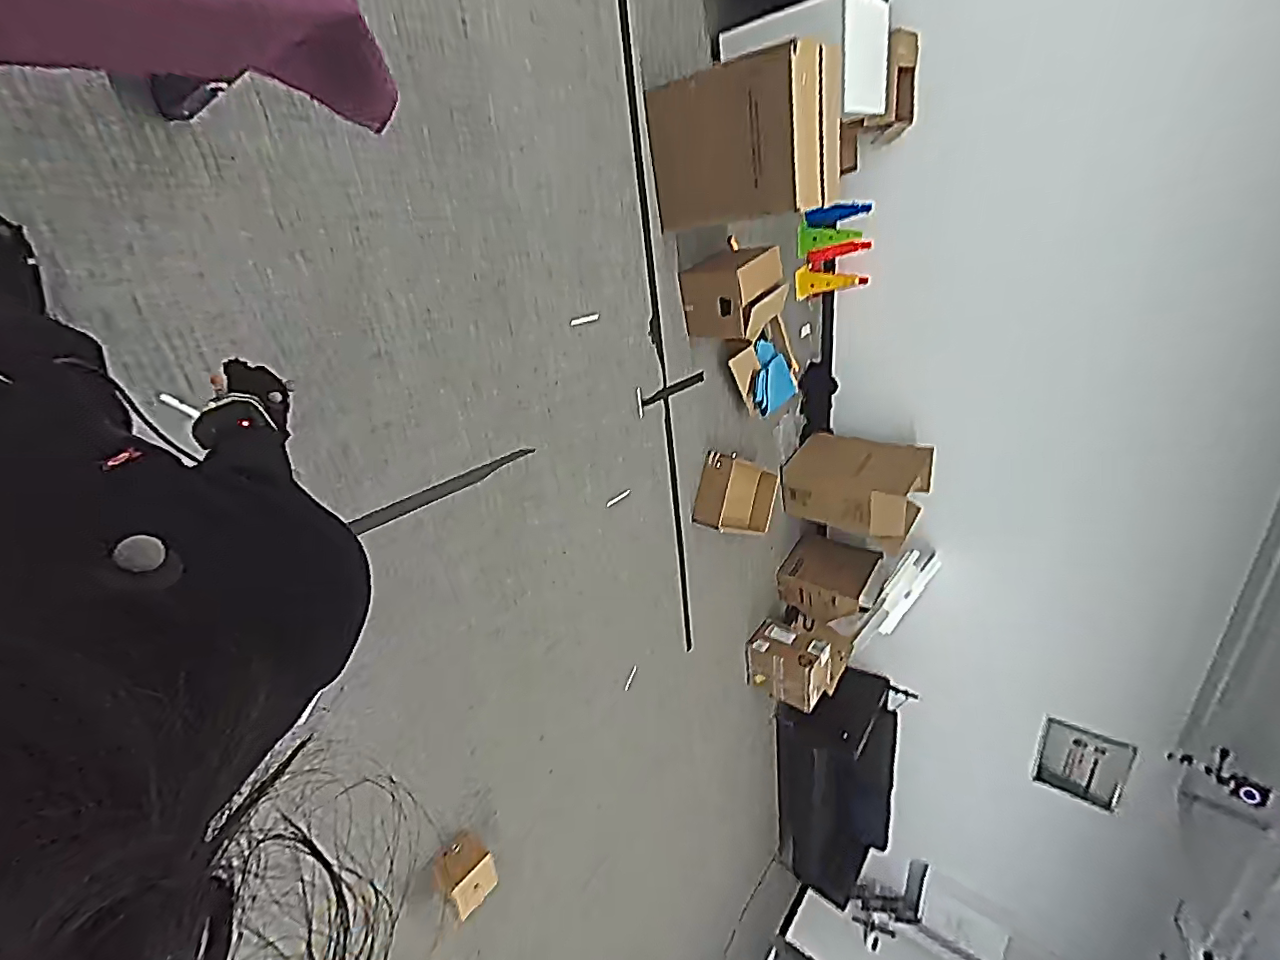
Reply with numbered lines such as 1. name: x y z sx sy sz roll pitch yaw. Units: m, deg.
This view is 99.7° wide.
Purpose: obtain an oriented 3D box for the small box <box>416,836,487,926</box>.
1. small box: -0.699 1.477 2.004 0.168 0.176 0.179 -30 122 -47
